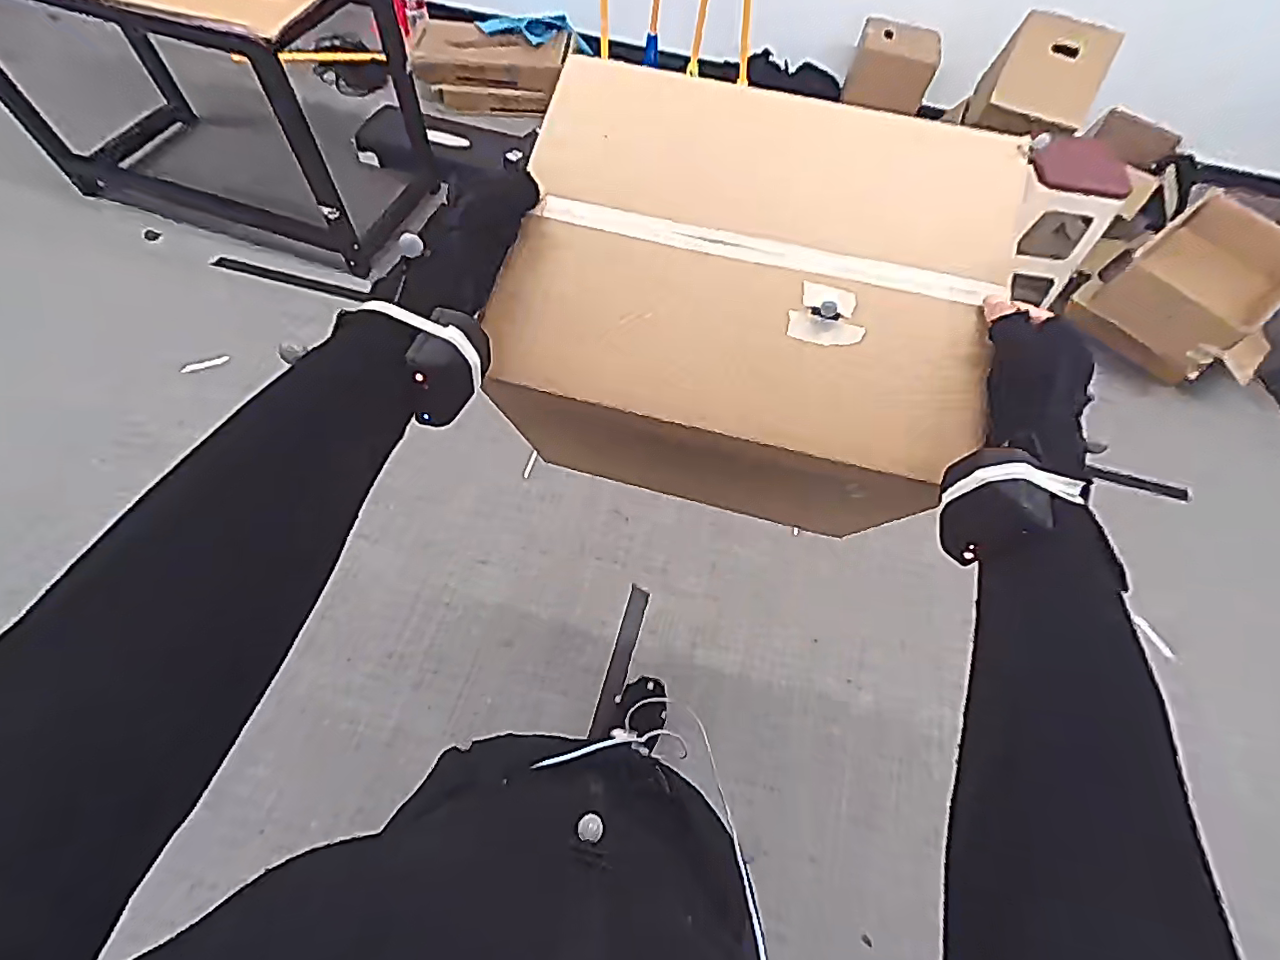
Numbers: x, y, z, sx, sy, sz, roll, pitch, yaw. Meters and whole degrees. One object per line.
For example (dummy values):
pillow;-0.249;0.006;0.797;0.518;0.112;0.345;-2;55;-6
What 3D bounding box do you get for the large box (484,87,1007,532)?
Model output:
large box;0.099;-0.150;0.607;0.408;0.320;0.320;14;80;5
